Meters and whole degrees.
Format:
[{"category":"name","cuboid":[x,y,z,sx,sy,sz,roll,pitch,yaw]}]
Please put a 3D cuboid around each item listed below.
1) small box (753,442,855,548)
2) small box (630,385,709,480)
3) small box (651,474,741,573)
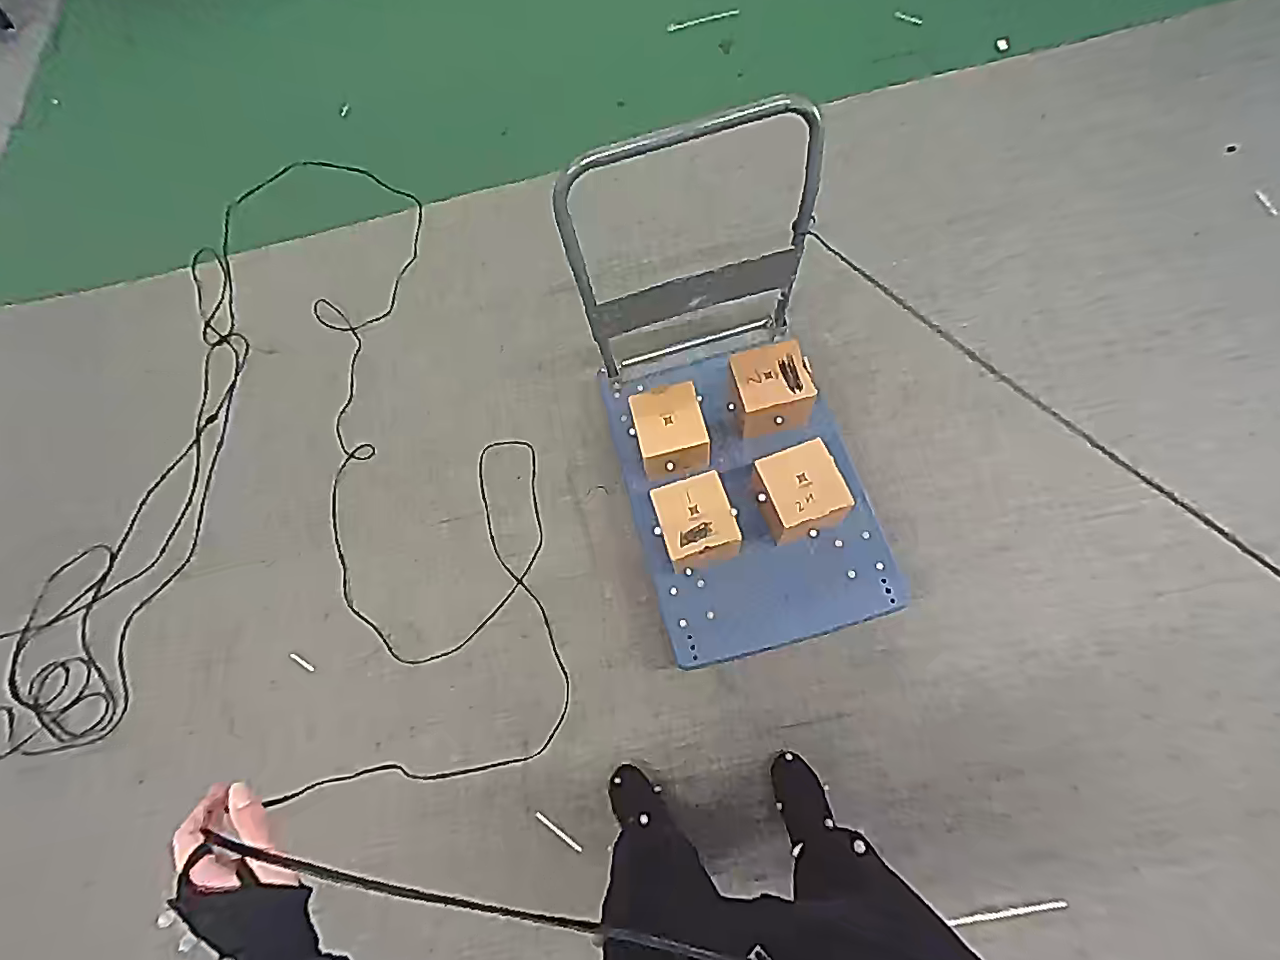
[{"category":"small box","cuboid":[0.378,0.041,1.284,0.168,0.176,0.179,-20,68,0]},{"category":"small box","cuboid":[0.080,-0.112,1.382,0.168,0.176,0.179,-14,68,1]},{"category":"small box","cuboid":[0.133,0.113,1.289,0.168,0.176,0.179,-17,68,0]}]
